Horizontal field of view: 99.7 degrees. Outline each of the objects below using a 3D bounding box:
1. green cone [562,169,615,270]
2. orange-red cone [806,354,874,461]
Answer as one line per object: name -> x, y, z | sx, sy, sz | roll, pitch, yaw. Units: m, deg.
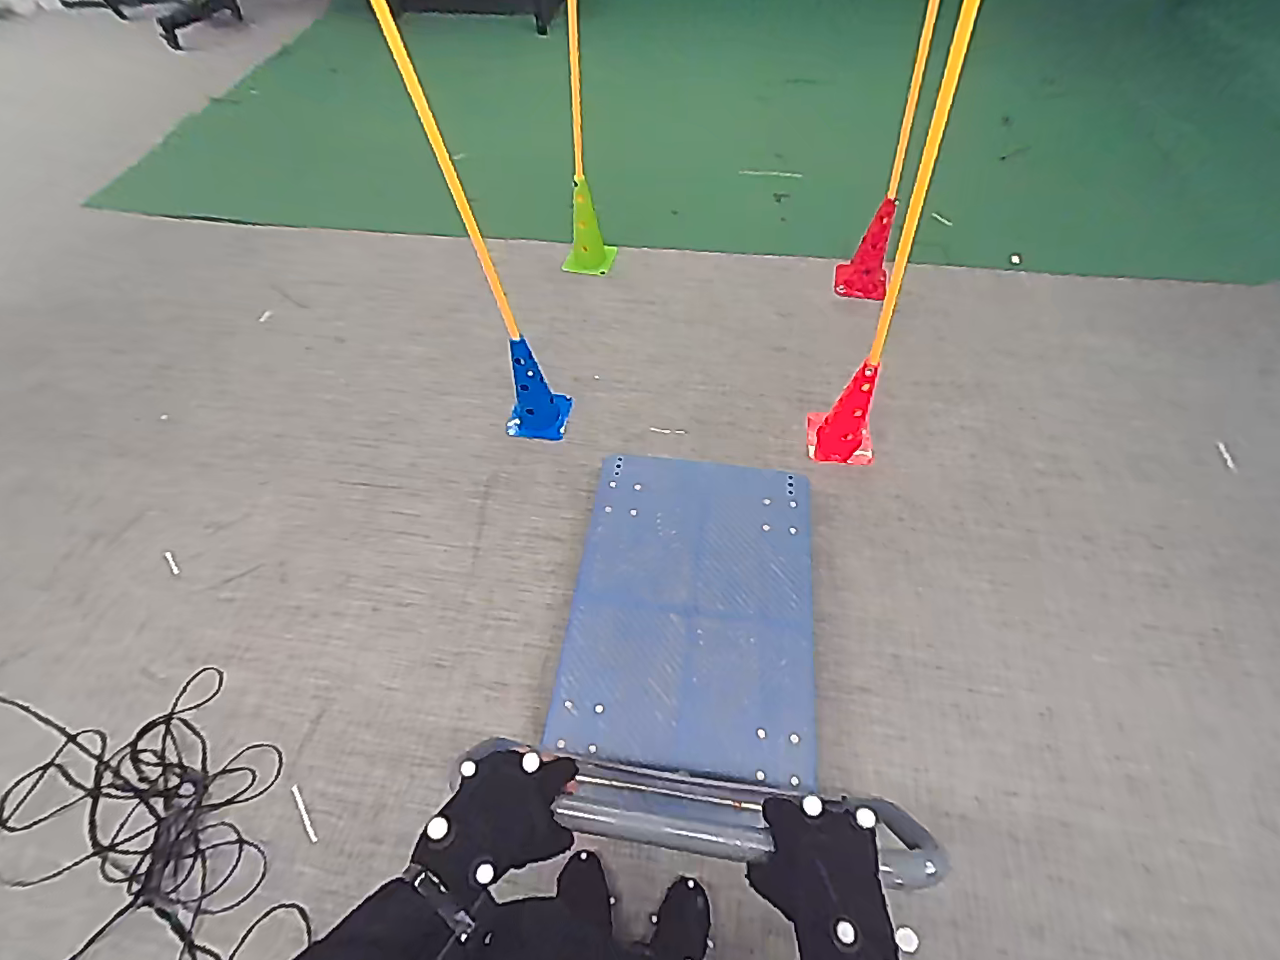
green cone -> -0.229, -1.069, 2.194 | 0.202, 0.368, 0.200 | 10, 58, 9
orange-red cone -> 0.639, -0.241, 1.645 | 0.199, 0.360, 0.198 | 5, 58, 7
